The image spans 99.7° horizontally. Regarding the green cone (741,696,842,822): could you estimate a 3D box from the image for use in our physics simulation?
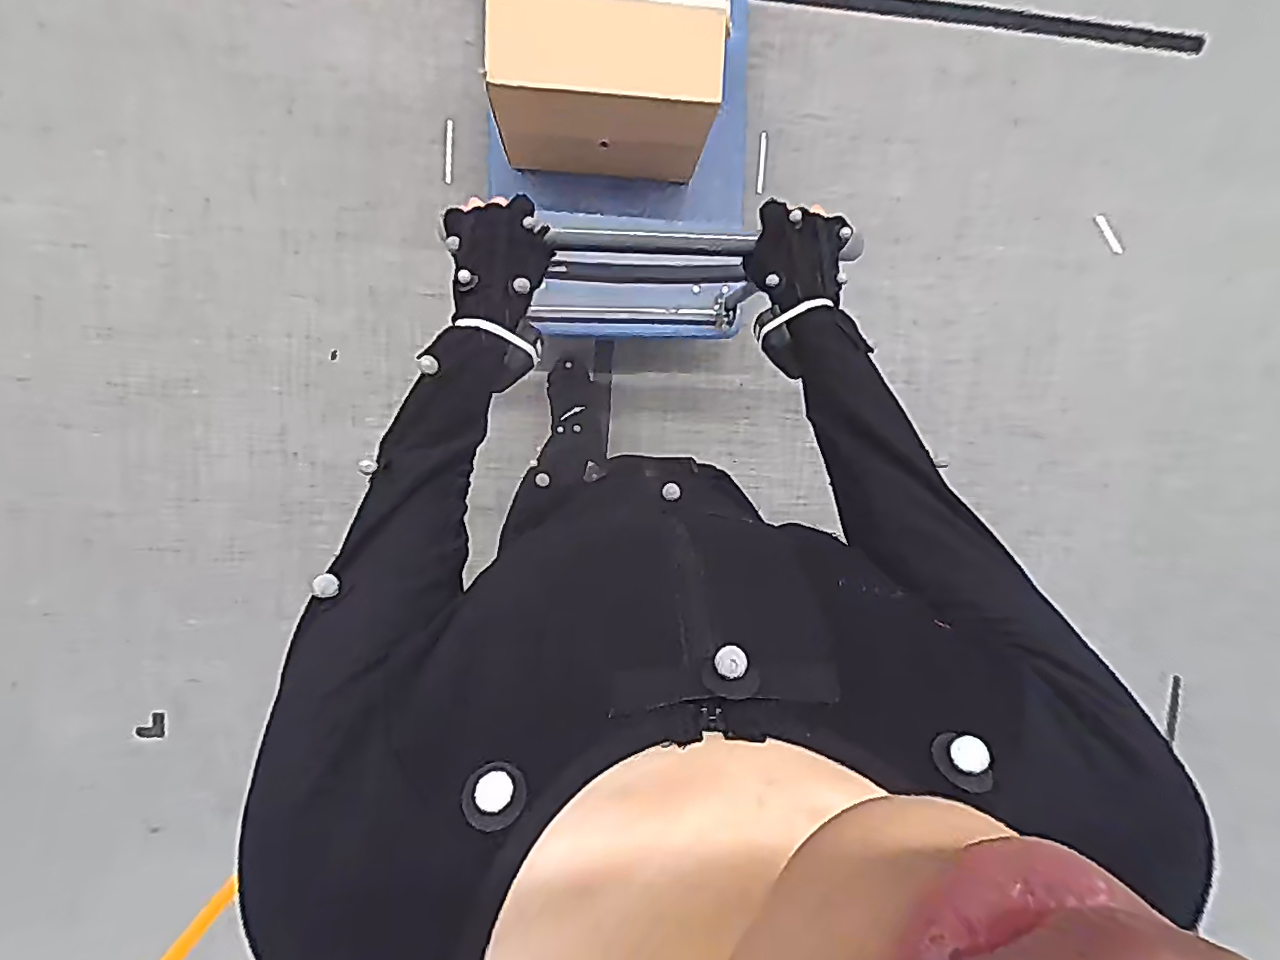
[{"bbox_3d":[0.418,0.747,1.407,0.202,0.368,0.200,7,95,-7],"label":"green cone"}]

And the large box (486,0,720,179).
[{"bbox_3d":[-0.070,-0.825,1.065,0.408,0.320,0.320,1,95,-5],"label":"large box"}]
